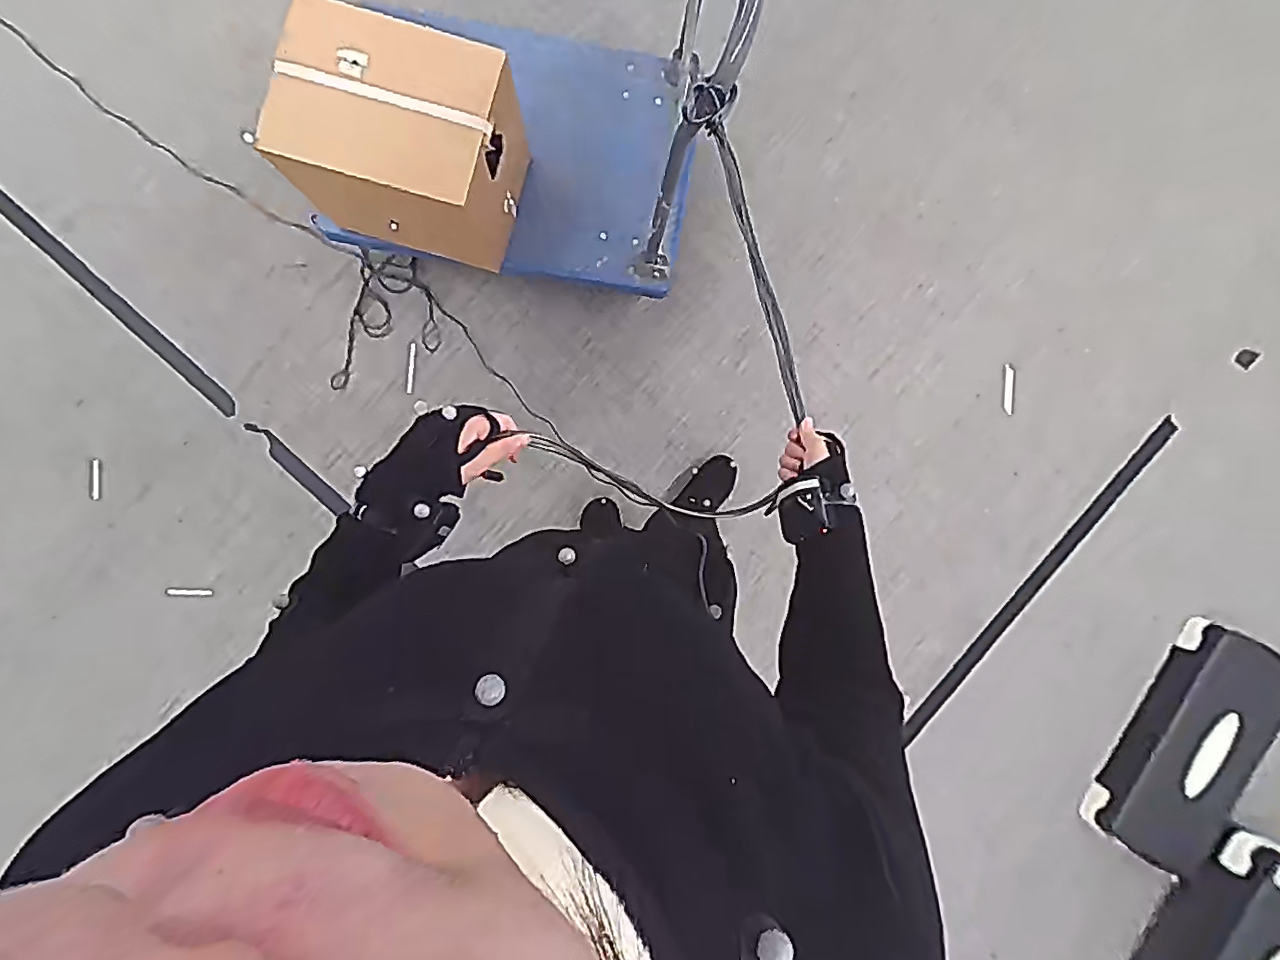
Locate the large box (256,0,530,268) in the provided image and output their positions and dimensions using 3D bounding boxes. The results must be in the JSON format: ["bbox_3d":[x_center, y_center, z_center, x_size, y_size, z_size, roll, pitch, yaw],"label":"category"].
[{"bbox_3d":[-0.483,-0.699,1.149,0.408,0.320,0.320,14,88,-2],"label":"large box"}]
